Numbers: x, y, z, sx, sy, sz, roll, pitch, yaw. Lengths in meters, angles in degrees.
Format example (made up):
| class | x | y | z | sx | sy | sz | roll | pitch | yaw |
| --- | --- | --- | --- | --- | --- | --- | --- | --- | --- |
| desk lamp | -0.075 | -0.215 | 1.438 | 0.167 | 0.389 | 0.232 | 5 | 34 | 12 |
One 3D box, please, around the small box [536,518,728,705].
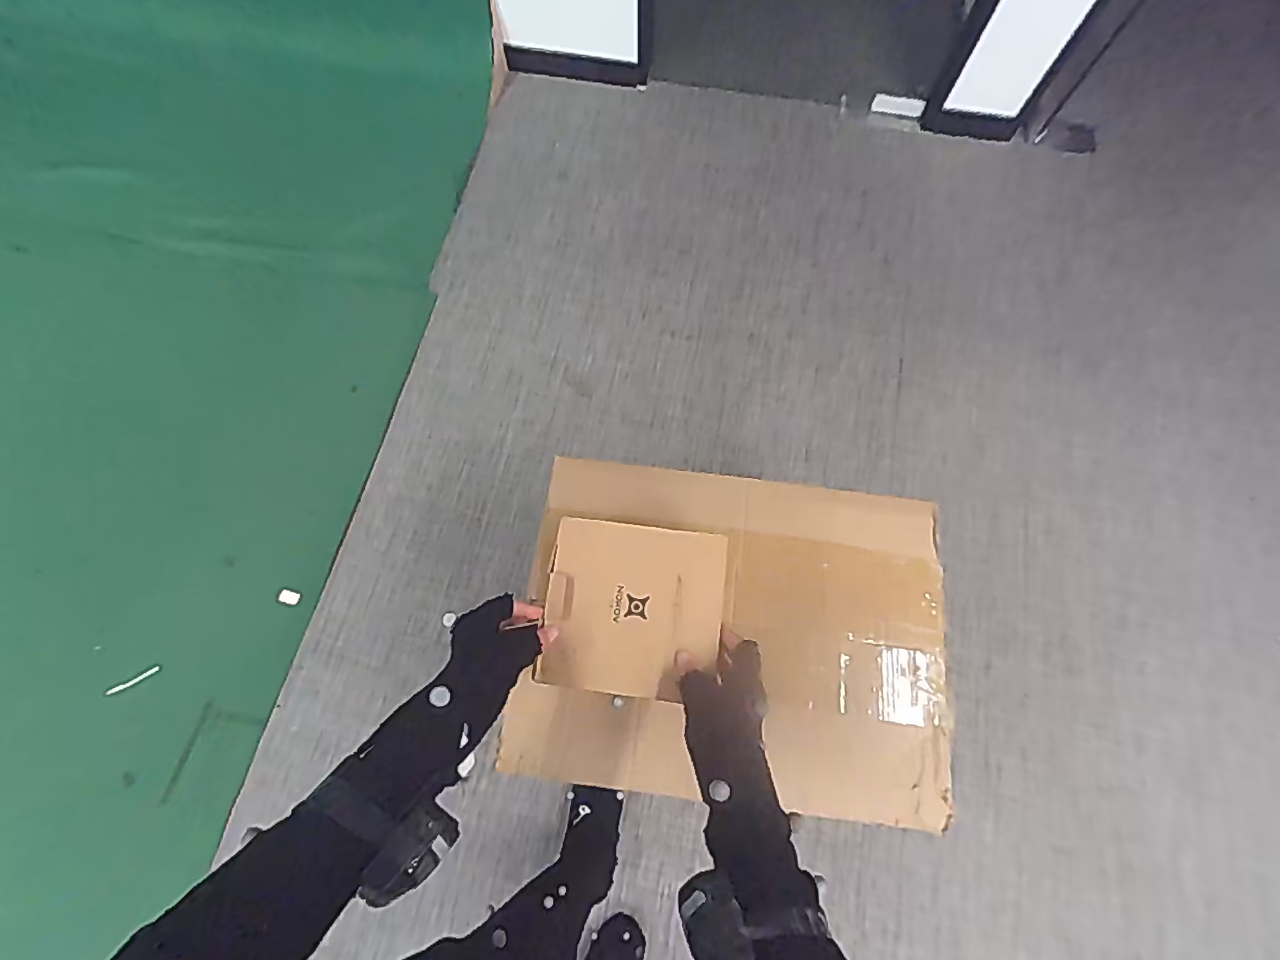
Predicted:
| class | x | y | z | sx | sy | sz | roll | pitch | yaw |
| --- | --- | --- | --- | --- | --- | --- | --- | --- | --- |
| small box | -0.004 | 0.150 | 0.611 | 0.179 | 0.176 | 0.168 | 7 | 73 | 2 |
